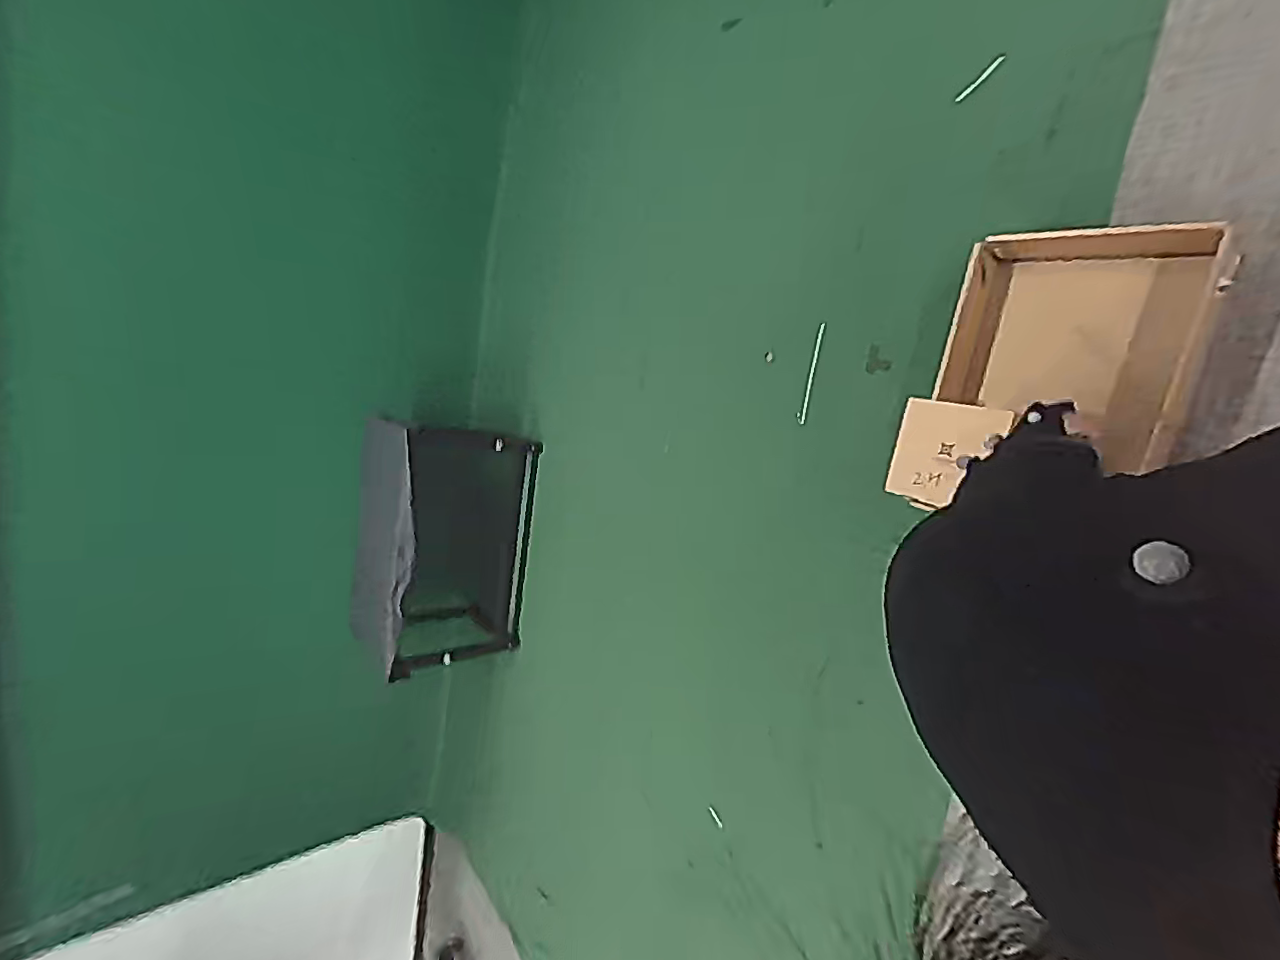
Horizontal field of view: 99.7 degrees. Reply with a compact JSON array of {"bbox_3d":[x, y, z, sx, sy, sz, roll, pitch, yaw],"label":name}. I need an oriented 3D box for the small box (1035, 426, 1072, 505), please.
[{"bbox_3d":[0.816,-0.049,1.191,0.179,0.176,0.168,20,104,46],"label":"small box"}]

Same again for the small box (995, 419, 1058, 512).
[{"bbox_3d":[0.699,-0.044,1.076,0.168,0.176,0.179,21,104,46],"label":"small box"}]

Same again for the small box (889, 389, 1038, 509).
[{"bbox_3d":[0.578,-0.055,0.963,0.168,0.176,0.179,21,105,47],"label":"small box"}]
